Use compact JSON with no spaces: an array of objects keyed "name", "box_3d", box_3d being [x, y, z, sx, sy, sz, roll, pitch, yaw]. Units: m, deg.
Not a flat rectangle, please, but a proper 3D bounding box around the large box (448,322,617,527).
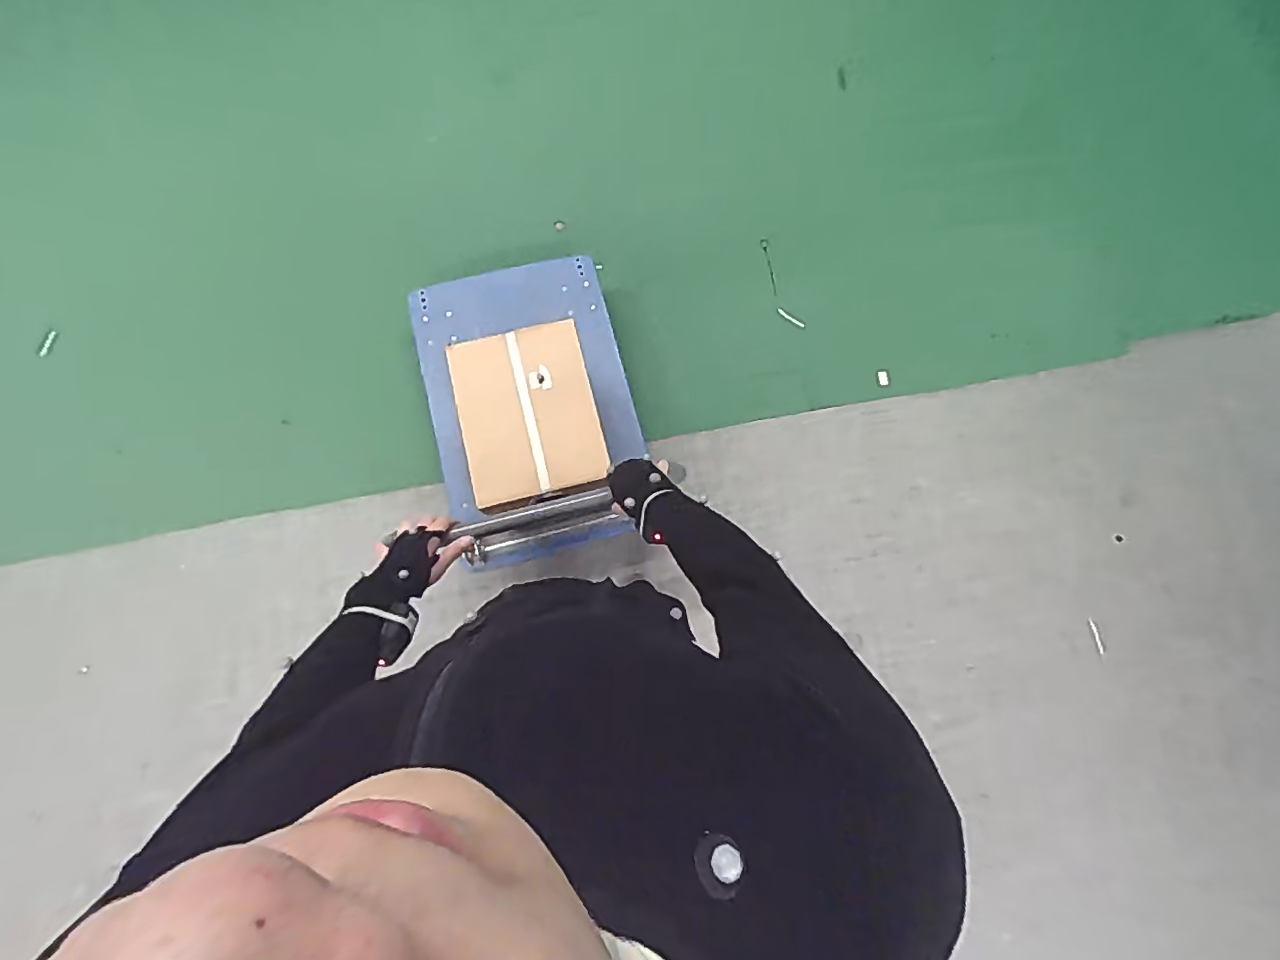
[{"name":"large box","box_3d":[-0.257,-0.124,1.391,0.320,0.320,0.408,-14,78,-6]}]
